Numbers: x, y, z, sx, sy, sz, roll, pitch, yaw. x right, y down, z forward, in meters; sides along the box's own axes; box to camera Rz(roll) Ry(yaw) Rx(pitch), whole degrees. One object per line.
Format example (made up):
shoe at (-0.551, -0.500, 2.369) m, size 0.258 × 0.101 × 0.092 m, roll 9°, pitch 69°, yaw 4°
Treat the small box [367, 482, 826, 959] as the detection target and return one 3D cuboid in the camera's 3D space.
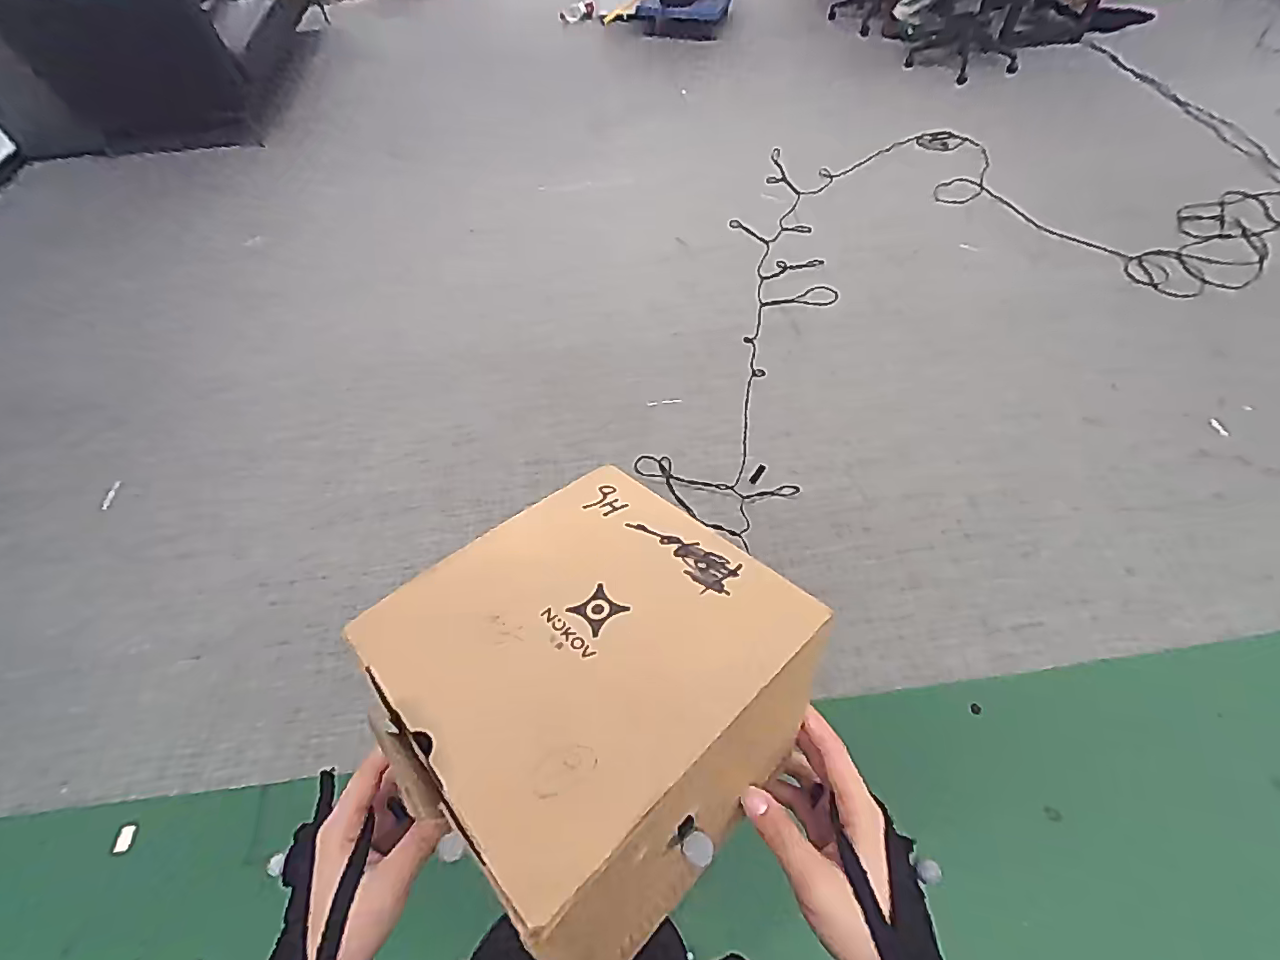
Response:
small box at (-0.018, 0.138, 0.320) m, size 0.179 × 0.176 × 0.168 m, roll -33°, pitch 48°, yaw -30°
